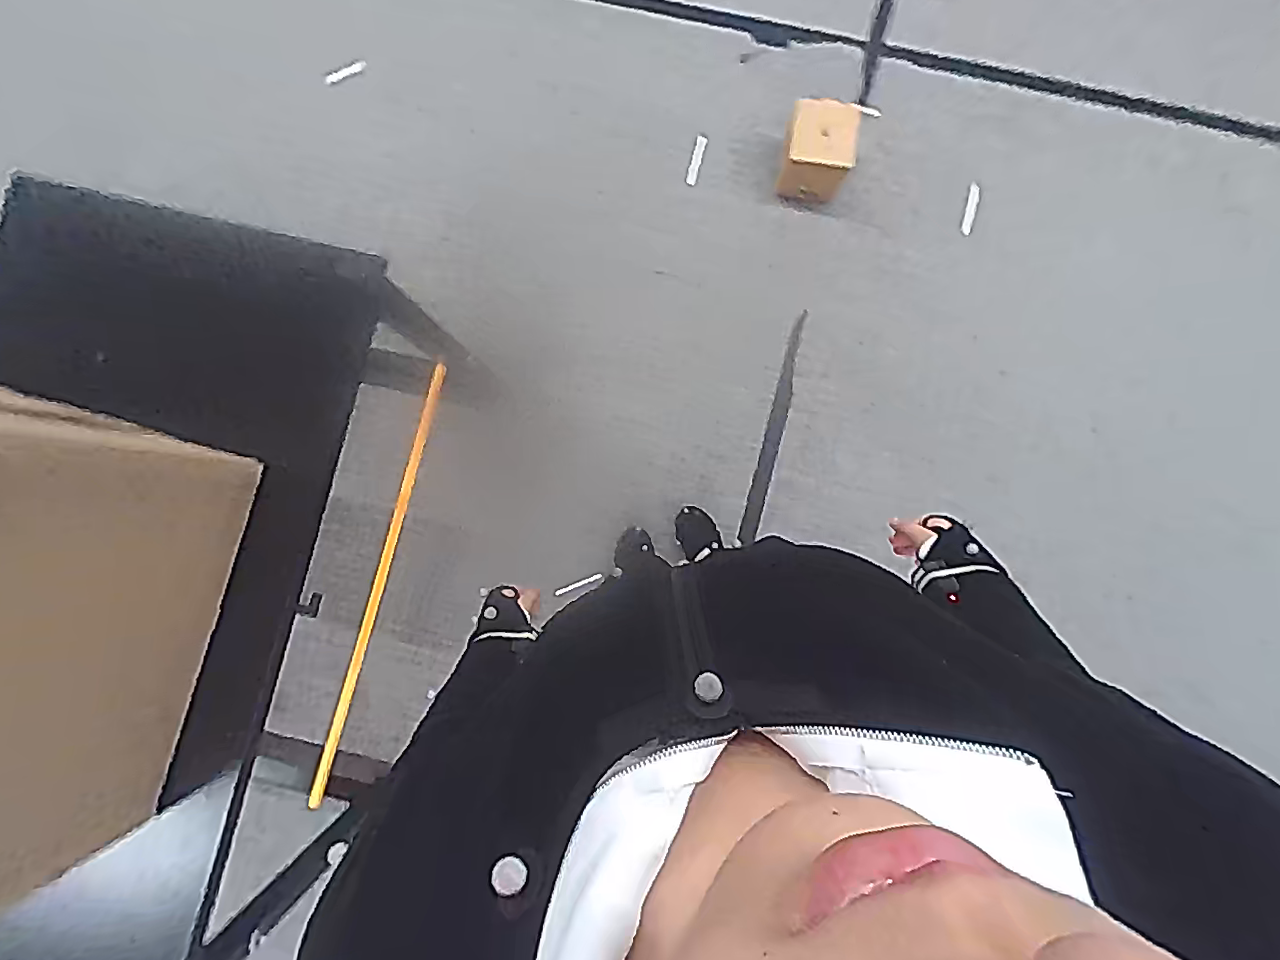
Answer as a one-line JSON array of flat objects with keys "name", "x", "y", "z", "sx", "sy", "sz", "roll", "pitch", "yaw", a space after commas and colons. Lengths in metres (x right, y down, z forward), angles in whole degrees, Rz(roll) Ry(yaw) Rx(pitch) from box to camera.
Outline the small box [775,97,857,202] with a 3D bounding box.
[{"name": "small box", "x": 0.477, "y": -0.902, "z": 1.486, "sx": 0.168, "sy": 0.176, "sz": 0.179, "roll": 7, "pitch": 88, "yaw": 2}]
